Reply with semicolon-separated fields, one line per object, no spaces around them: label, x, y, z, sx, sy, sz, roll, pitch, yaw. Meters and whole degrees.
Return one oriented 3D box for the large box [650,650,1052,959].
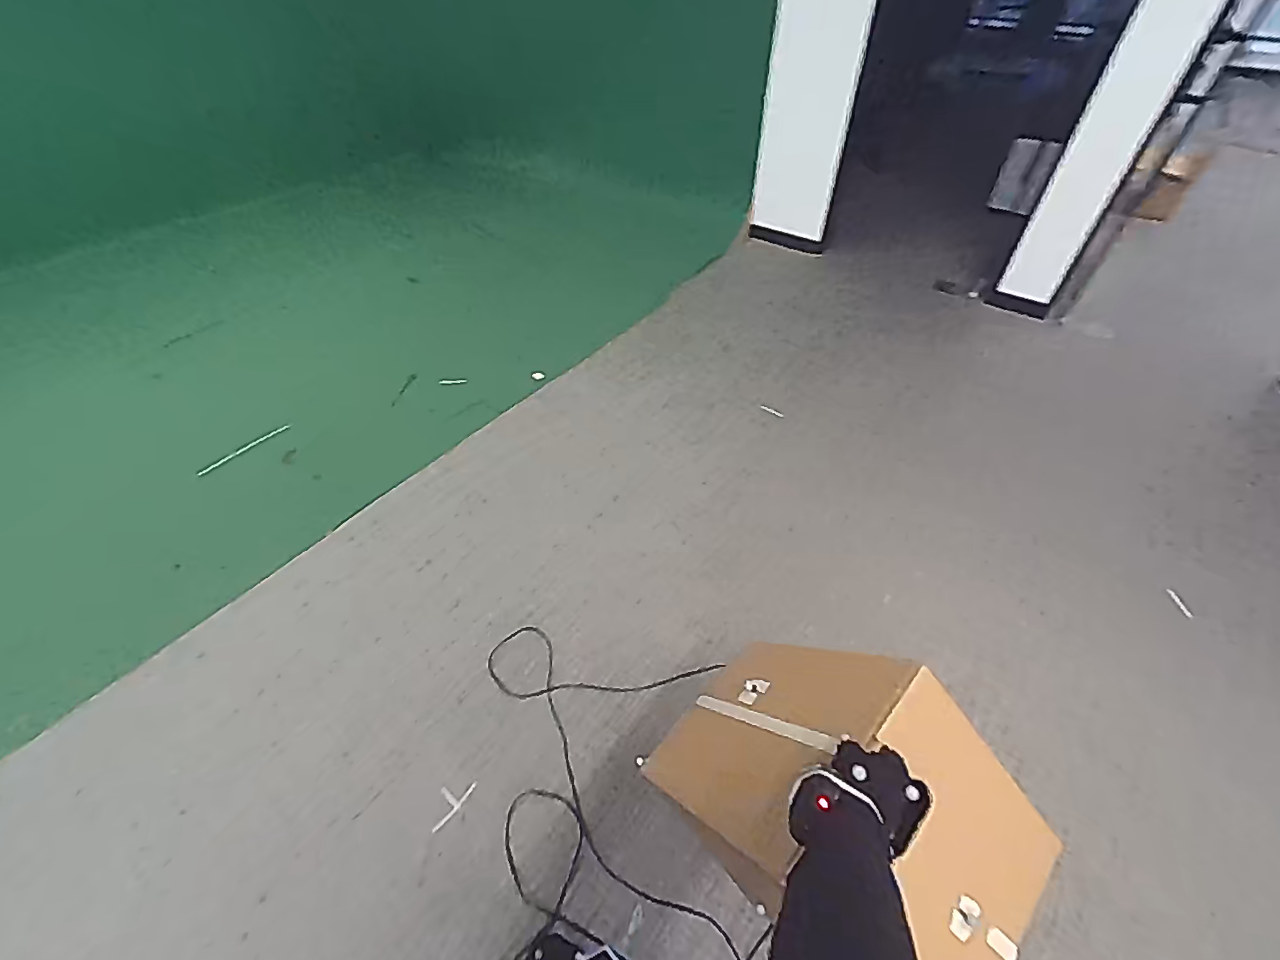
large box;0.285;0.491;0.819;0.320;0.408;0.320;-39;92;-24
